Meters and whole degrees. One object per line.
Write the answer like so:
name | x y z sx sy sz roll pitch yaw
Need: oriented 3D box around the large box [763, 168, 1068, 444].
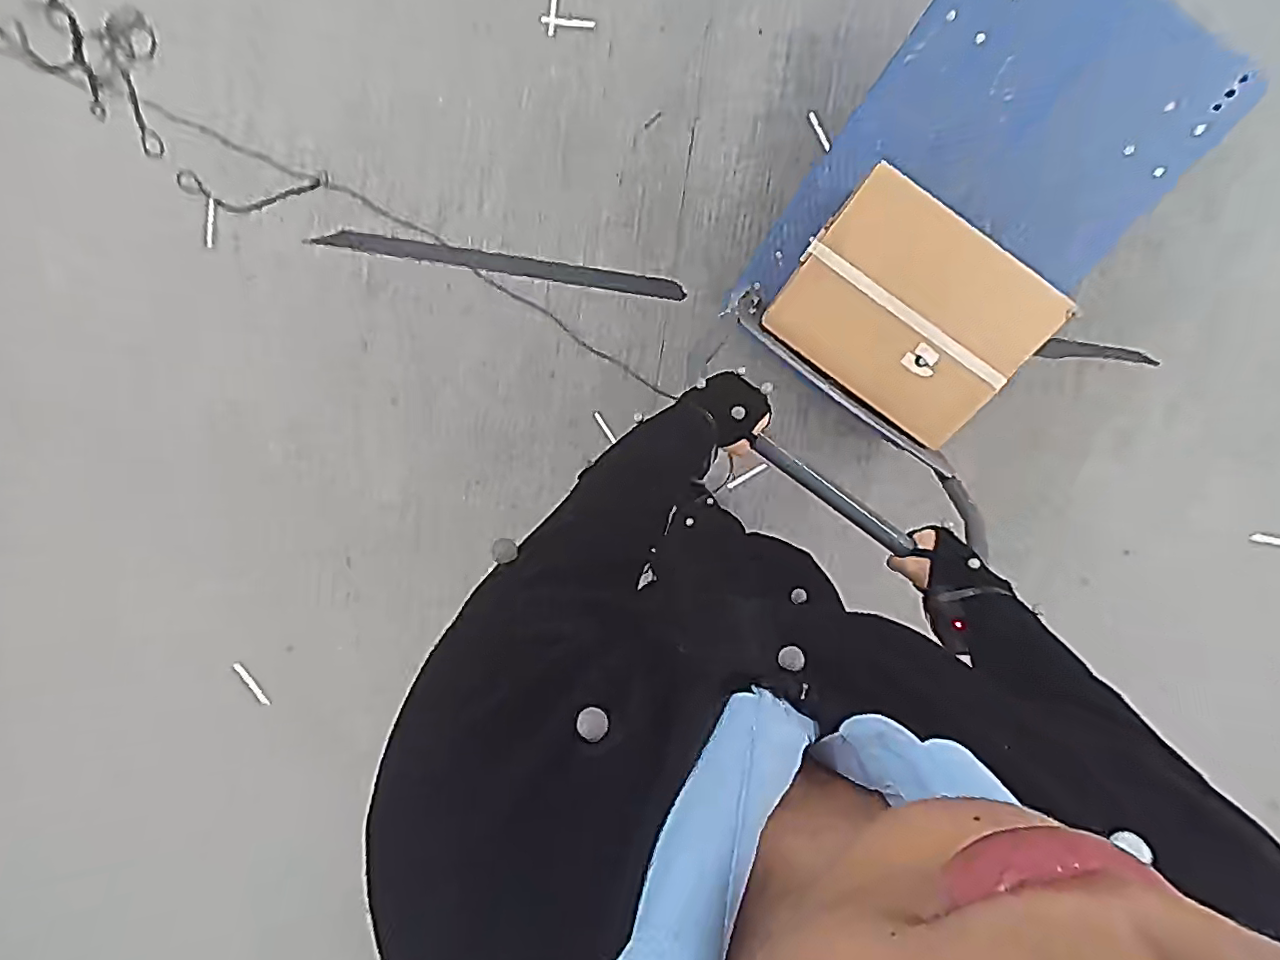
large box | 0.500 -0.341 1.088 0.408 0.320 0.320 36 114 -1
